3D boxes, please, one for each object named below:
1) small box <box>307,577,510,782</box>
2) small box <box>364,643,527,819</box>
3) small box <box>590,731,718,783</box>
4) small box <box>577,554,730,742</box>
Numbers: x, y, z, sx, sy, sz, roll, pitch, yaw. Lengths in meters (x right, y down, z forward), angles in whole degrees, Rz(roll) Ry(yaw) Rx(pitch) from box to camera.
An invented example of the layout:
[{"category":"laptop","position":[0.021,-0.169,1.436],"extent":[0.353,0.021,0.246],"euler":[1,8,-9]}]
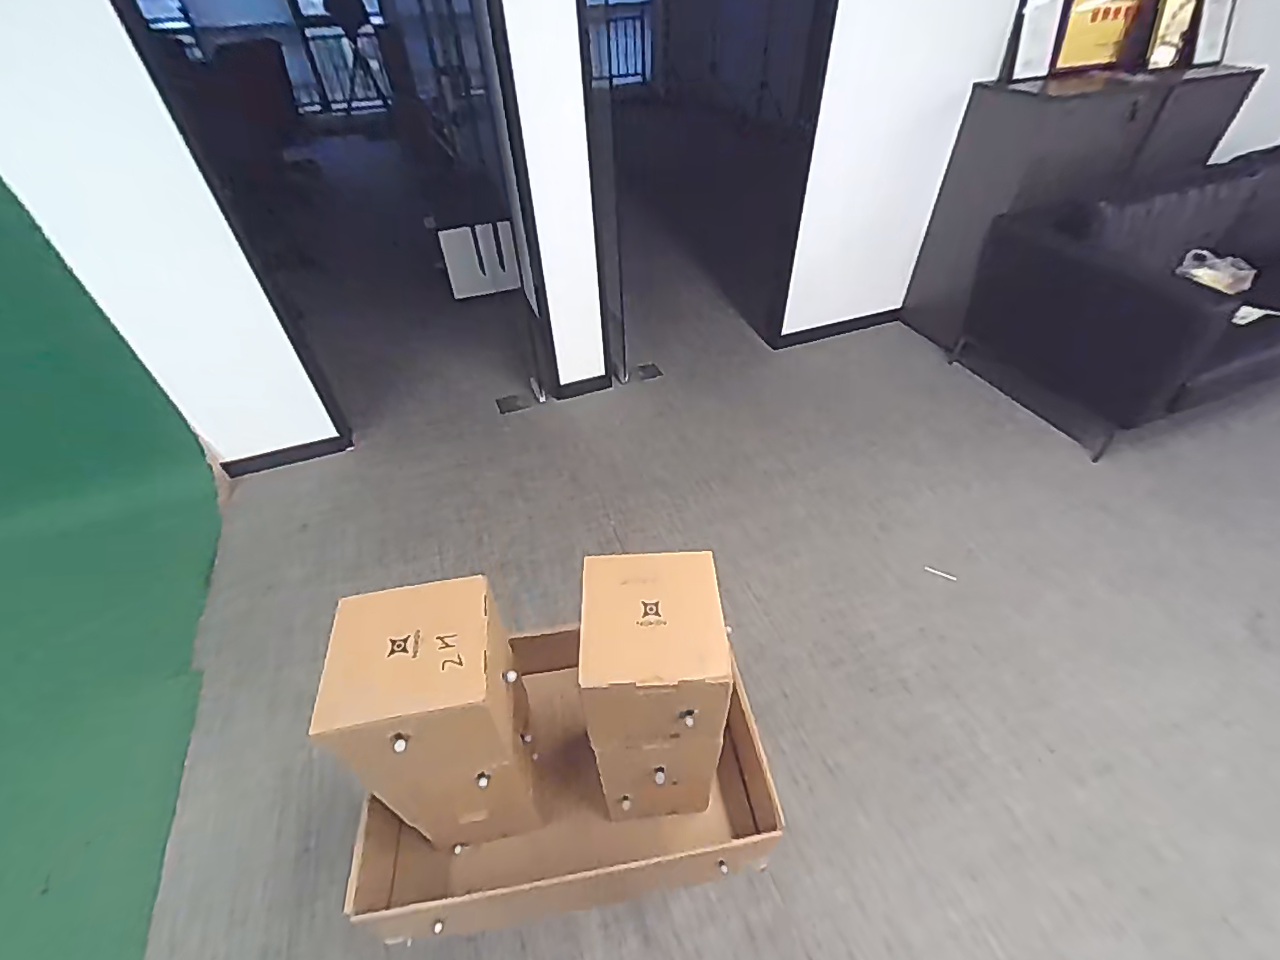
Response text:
[{"category":"small box","position":[-0.261,0.244,0.659],"extent":[0.179,0.176,0.168],"euler":[-7,45,-8]},{"category":"small box","position":[-0.263,0.361,0.775],"extent":[0.179,0.176,0.168],"euler":[-6,44,-8]},{"category":"small box","position":[0.016,0.332,0.797],"extent":[0.168,0.176,0.179],"euler":[-2,45,-2]},{"category":"small box","position":[0.015,0.216,0.683],"extent":[0.168,0.176,0.179],"euler":[-2,43,-1]}]
